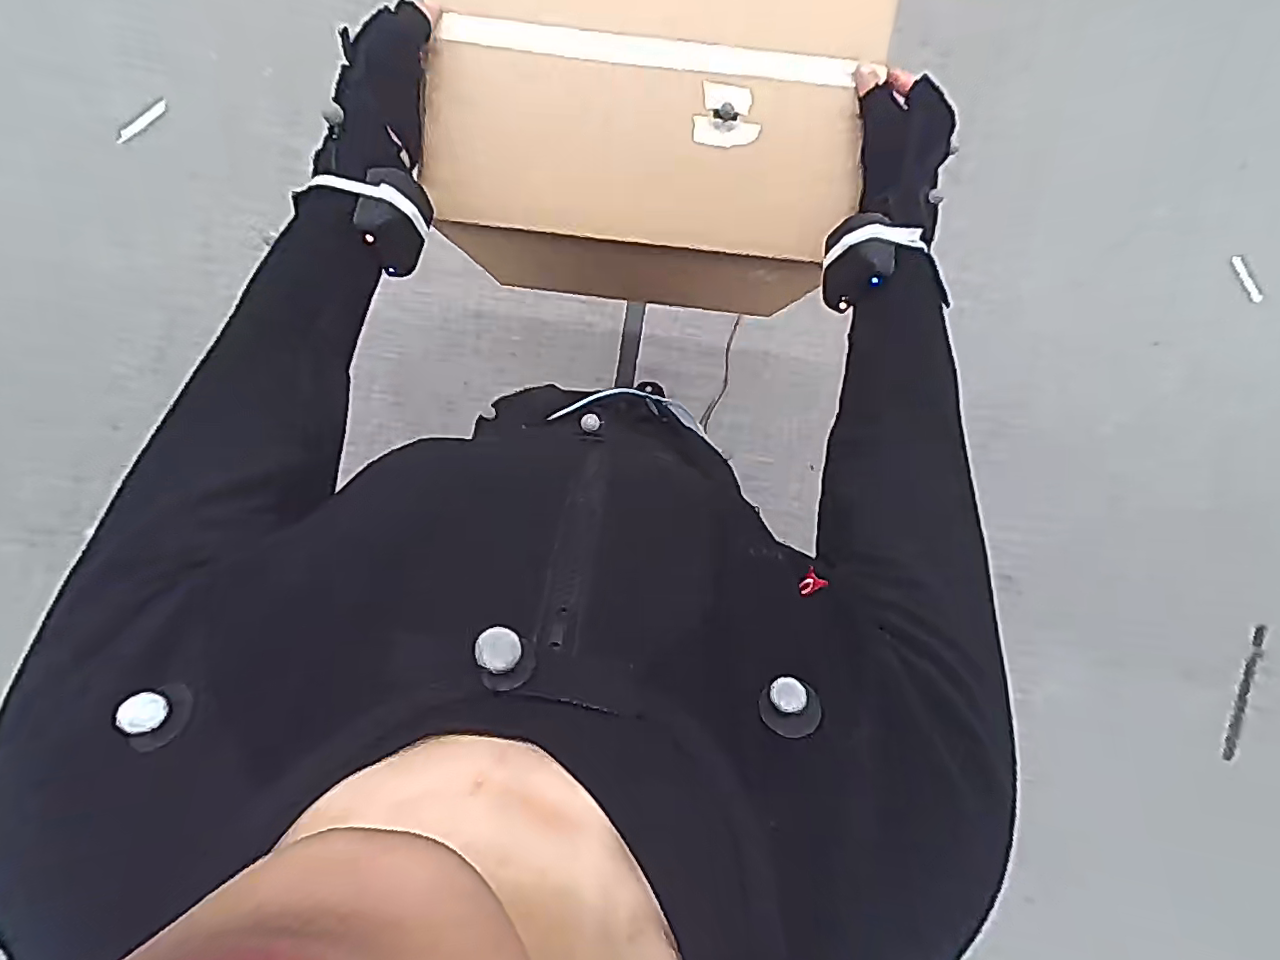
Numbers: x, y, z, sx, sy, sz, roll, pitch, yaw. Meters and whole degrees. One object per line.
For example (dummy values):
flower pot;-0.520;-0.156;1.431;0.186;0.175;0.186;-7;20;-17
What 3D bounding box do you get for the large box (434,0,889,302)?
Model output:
large box;0.014;-0.406;0.630;0.408;0.320;0.320;5;100;-2
